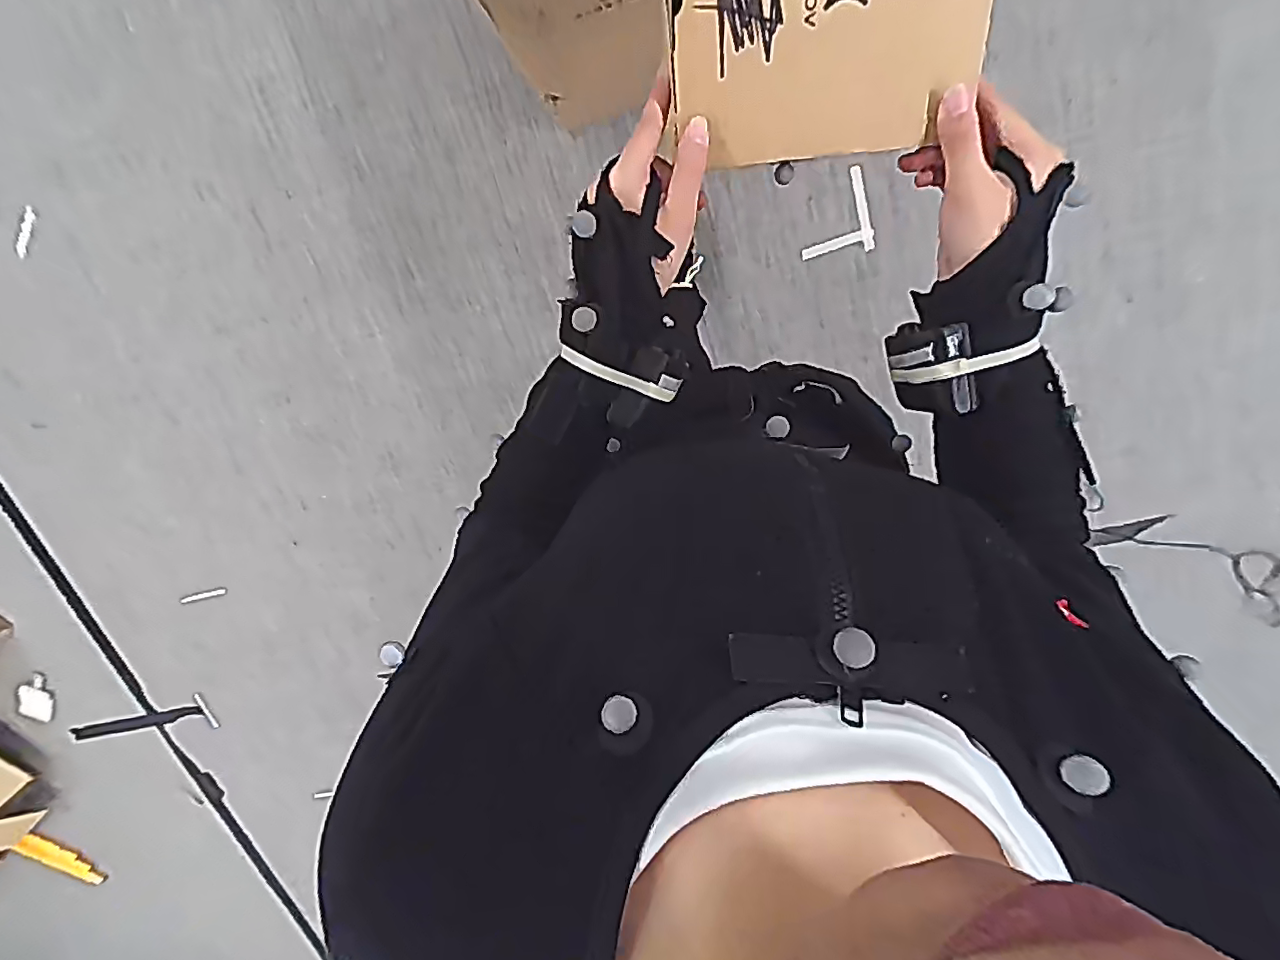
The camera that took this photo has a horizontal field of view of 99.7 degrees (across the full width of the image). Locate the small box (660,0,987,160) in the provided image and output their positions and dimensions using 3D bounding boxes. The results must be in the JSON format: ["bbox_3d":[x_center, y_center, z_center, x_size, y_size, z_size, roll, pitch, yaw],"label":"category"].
[{"bbox_3d":[0.101,-0.312,0.353,0.179,0.176,0.168,-4,120,3],"label":"small box"}]
